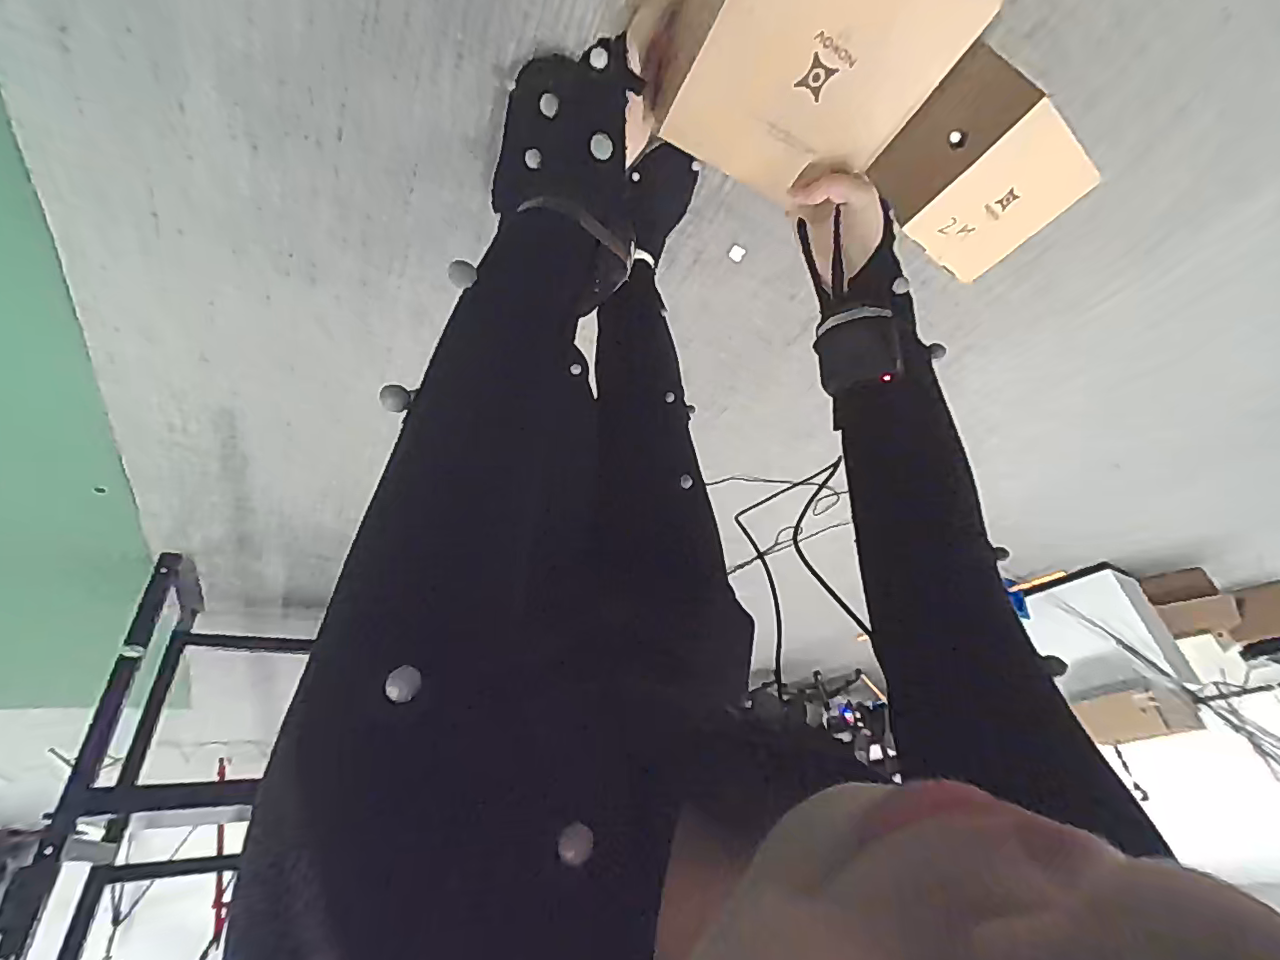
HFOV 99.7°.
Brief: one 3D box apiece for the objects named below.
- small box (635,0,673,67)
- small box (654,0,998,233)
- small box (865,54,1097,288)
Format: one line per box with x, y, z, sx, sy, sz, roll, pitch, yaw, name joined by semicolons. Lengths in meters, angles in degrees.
0.104;-0.483;0.512;0.168;0.176;0.179;12;142;-26;small box
0.121;-0.345;0.425;0.168;0.176;0.179;14;142;-25;small box
0.428;-0.398;0.706;0.168;0.176;0.179;17;140;-31;small box
